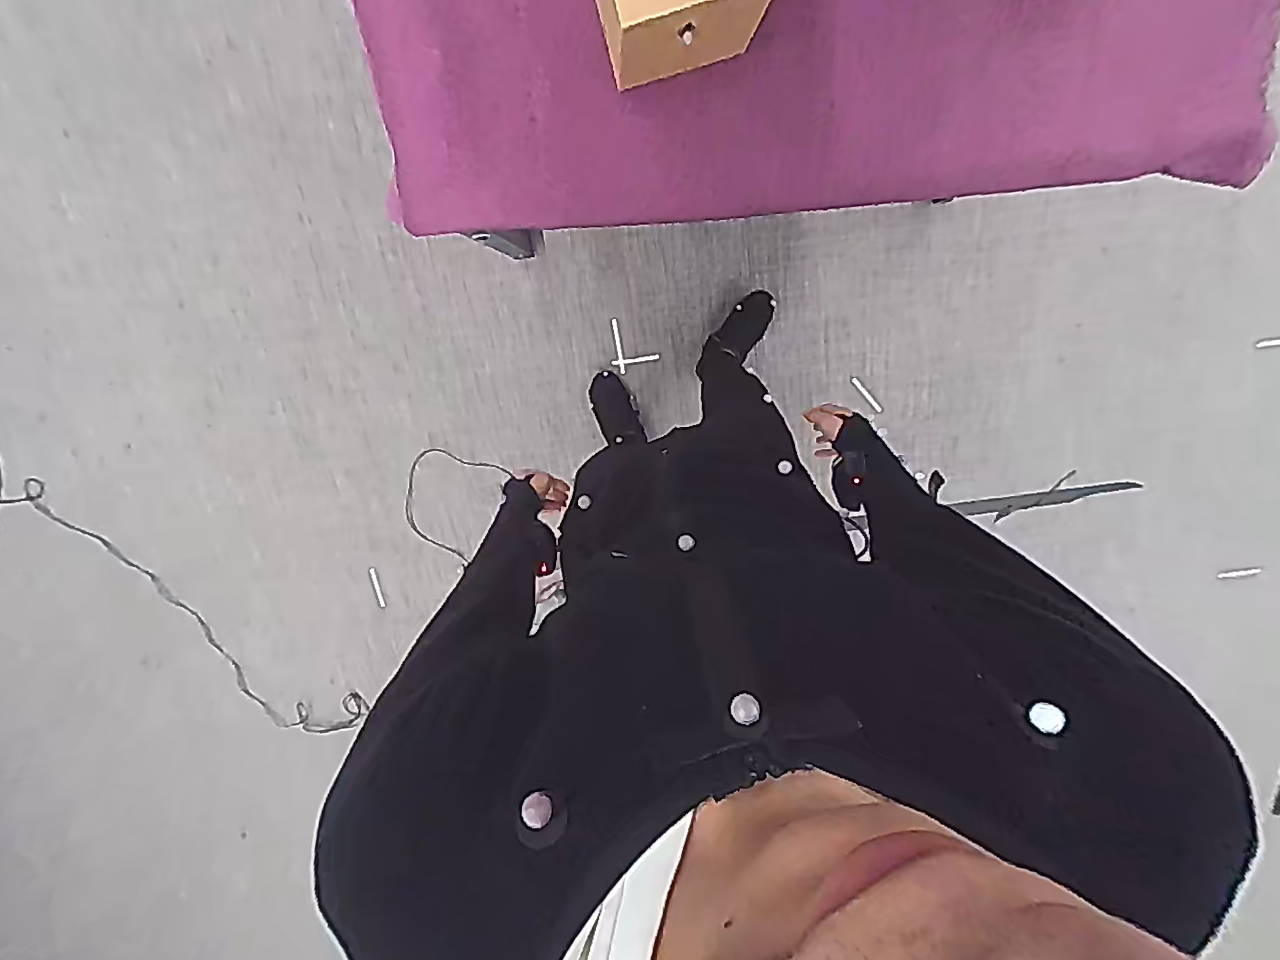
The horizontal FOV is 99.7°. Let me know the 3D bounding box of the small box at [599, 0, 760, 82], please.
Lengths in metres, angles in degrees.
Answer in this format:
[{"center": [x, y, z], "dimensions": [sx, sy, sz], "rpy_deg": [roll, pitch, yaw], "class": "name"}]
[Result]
[{"center": [0.037, -0.587, 0.605], "dimensions": [0.179, 0.176, 0.168], "rpy_deg": [-16, 107, 1], "class": "small box"}]
